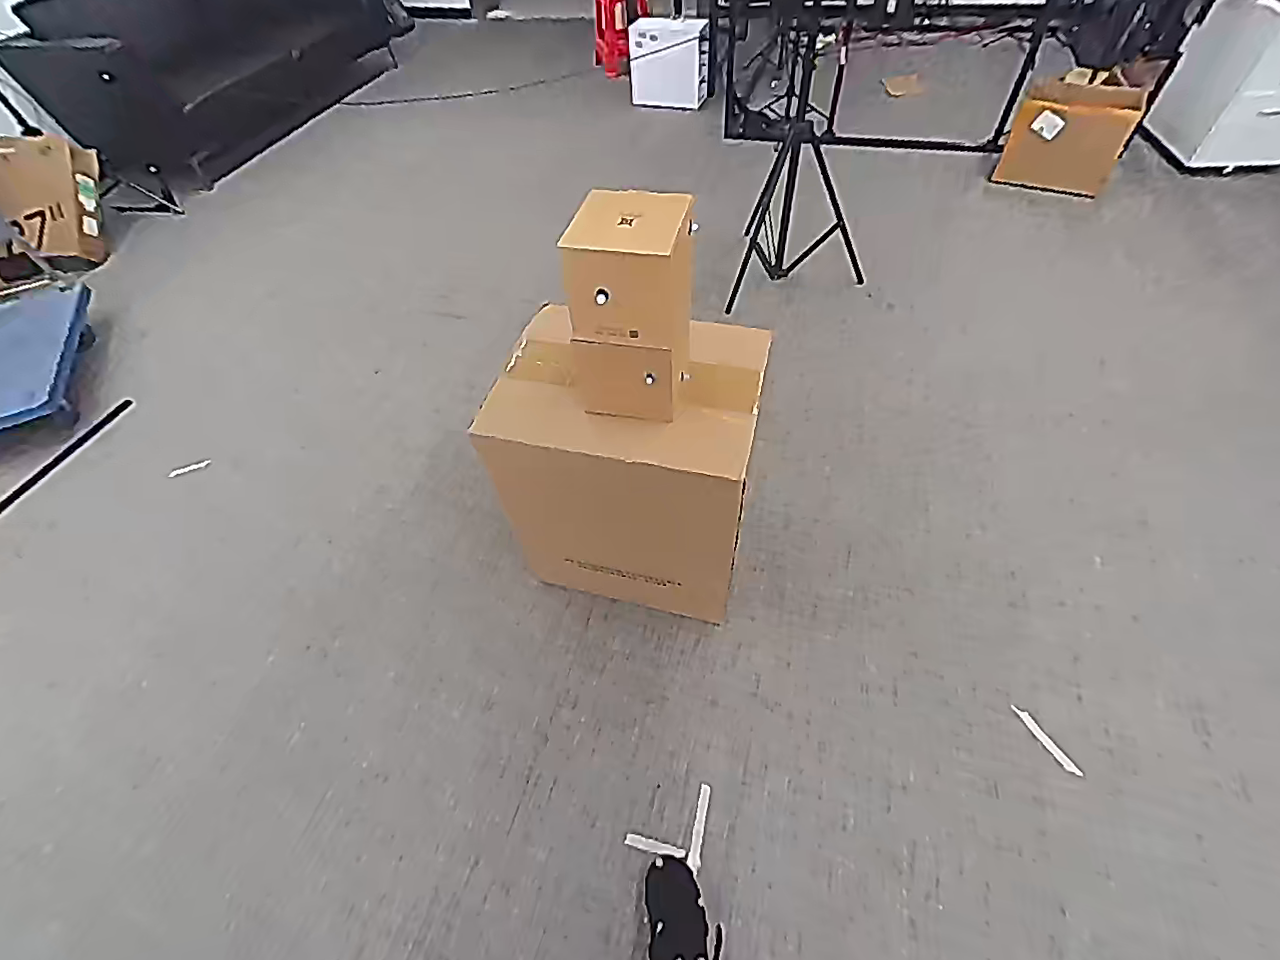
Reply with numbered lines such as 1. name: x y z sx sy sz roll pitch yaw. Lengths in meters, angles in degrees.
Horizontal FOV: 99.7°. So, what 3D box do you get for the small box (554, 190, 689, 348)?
1. small box: -0.017 -0.329 0.849 0.168 0.176 0.179 9 53 11
